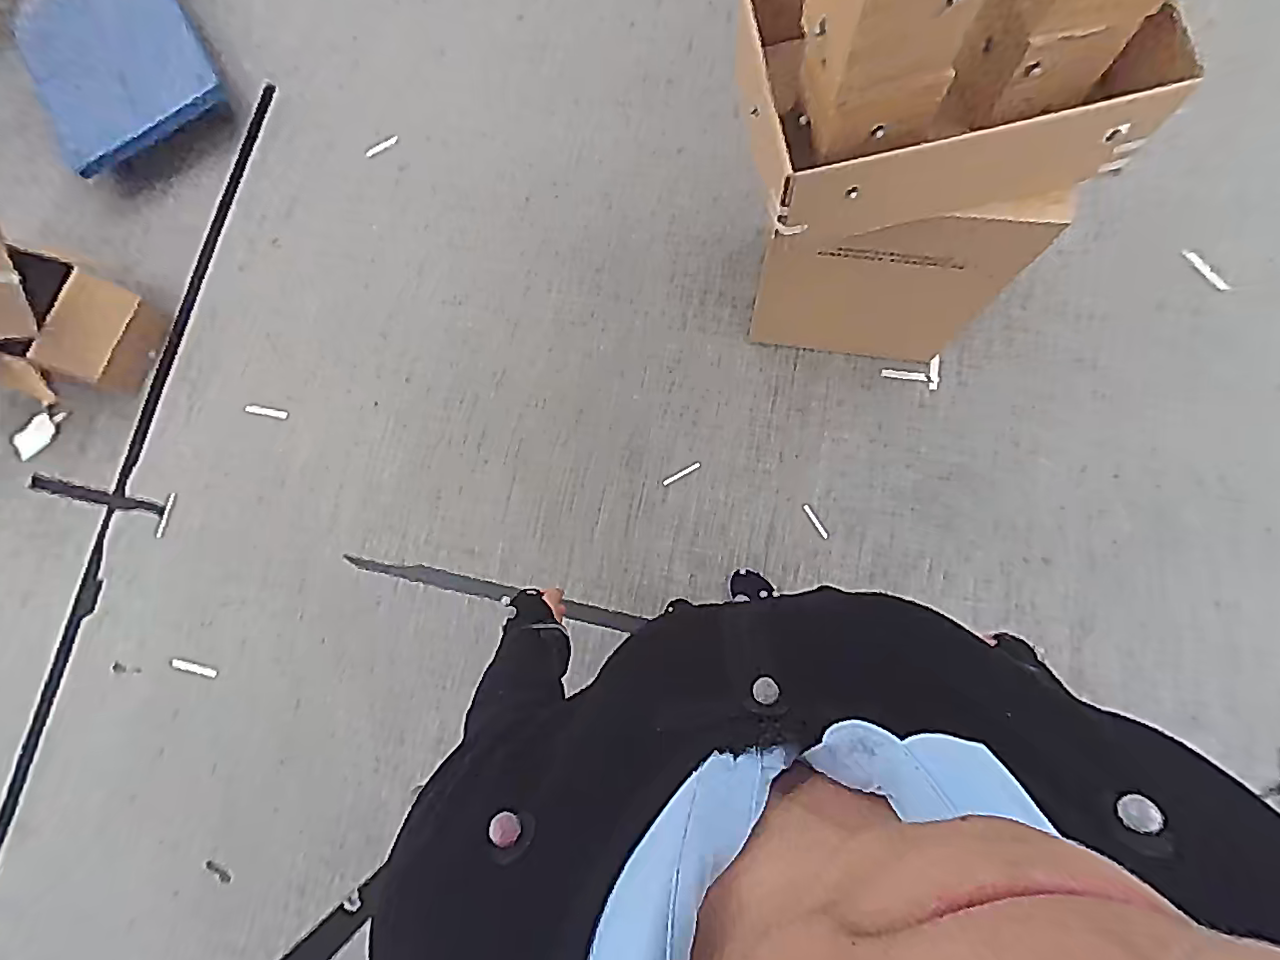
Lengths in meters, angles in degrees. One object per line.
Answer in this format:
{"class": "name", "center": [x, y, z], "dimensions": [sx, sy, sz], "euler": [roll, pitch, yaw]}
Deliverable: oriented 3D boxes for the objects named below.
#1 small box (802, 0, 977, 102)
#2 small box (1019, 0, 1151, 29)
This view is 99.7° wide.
{"class": "small box", "center": [0.345, -0.677, 0.747], "dimensions": [0.179, 0.176, 0.168], "euler": [-15, 79, 3]}
{"class": "small box", "center": [0.637, -0.760, 0.730], "dimensions": [0.179, 0.176, 0.168], "euler": [-6, 79, 6]}
